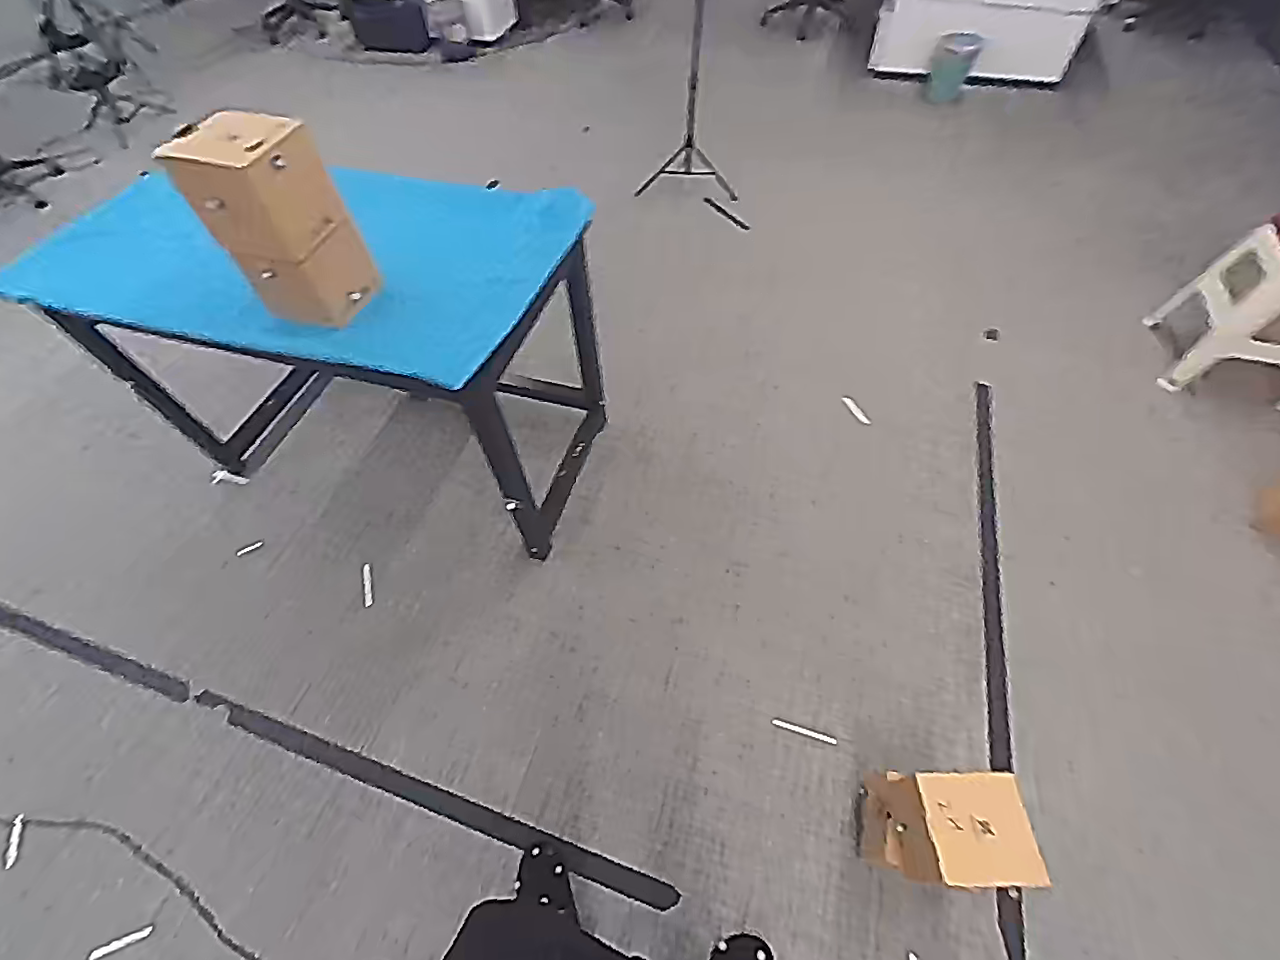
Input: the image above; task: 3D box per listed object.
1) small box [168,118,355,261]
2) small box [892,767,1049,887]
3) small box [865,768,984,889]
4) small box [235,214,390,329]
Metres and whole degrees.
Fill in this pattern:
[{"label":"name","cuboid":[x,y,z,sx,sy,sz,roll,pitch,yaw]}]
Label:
[{"label":"small box","cuboid":[-0.658,-0.515,0.966,0.179,0.176,0.168,10,57,9]},{"label":"small box","cuboid":[0.590,0.635,0.993,0.179,0.176,0.168,1,55,6]},{"label":"small box","cuboid":[0.585,0.727,1.130,0.179,0.176,0.168,13,58,11]},{"label":"small box","cuboid":[-0.657,-0.432,1.106,0.179,0.176,0.168,13,58,12]}]
